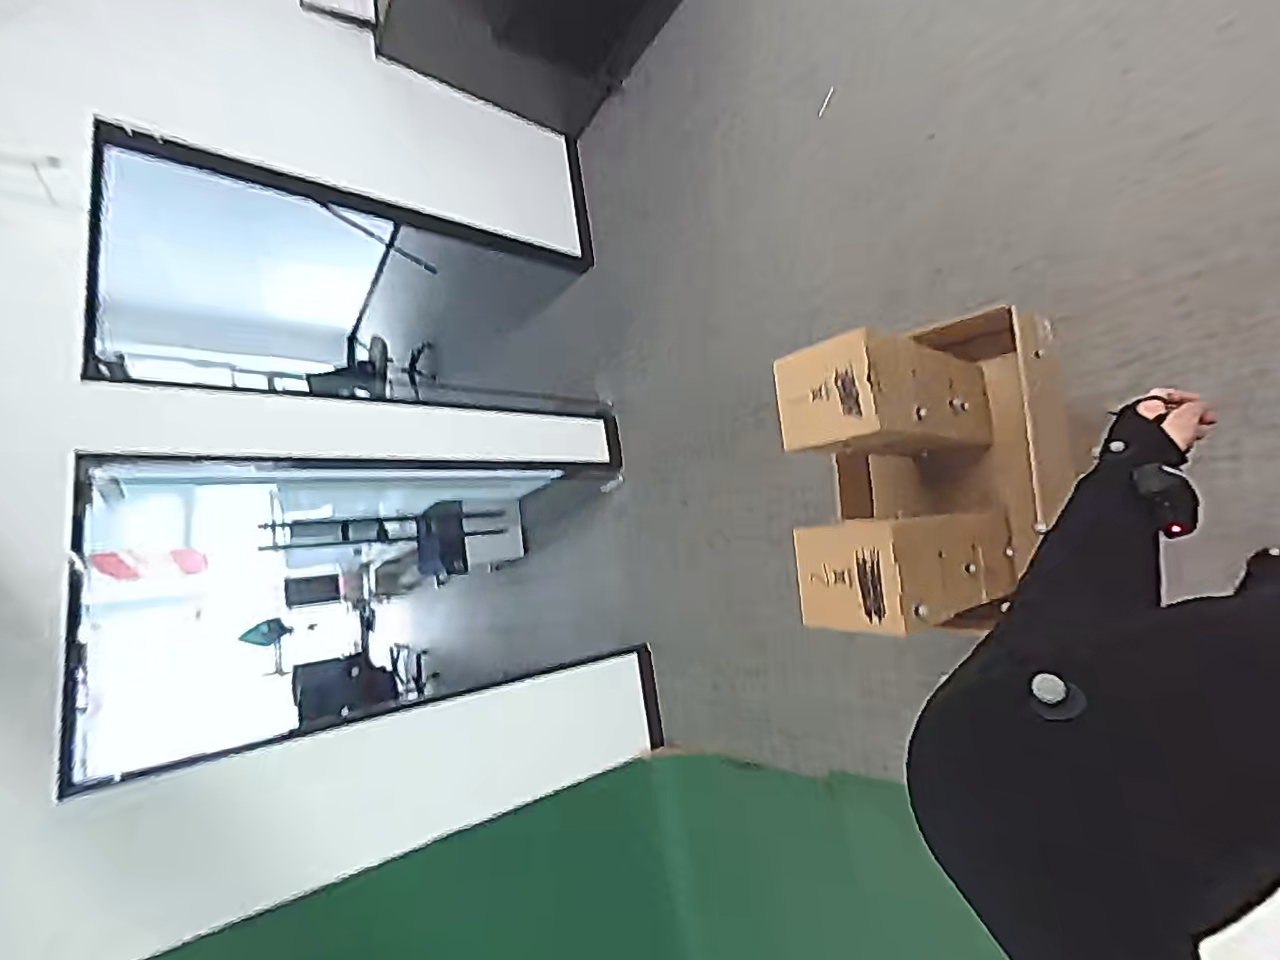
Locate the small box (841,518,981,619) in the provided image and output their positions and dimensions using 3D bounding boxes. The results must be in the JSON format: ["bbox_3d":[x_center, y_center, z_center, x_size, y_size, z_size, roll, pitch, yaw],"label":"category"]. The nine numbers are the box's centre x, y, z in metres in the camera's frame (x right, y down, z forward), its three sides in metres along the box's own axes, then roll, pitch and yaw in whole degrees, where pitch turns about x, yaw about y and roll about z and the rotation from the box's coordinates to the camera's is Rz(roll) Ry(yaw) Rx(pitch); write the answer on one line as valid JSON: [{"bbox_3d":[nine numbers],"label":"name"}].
[{"bbox_3d":[0.504,0.158,1.009,0.179,0.176,0.168,-9,83,51],"label":"small box"}]

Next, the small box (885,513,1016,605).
[{"bbox_3d":[0.632,0.155,1.106,0.179,0.176,0.168,-10,83,52],"label":"small box"}]

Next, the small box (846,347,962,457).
[{"bbox_3d":[0.480,-0.138,1.034,0.179,0.176,0.168,-13,81,50],"label":"small box"}]

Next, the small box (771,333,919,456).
[{"bbox_3d":[0.356,-0.136,0.928,0.179,0.176,0.168,-14,80,51],"label":"small box"}]
